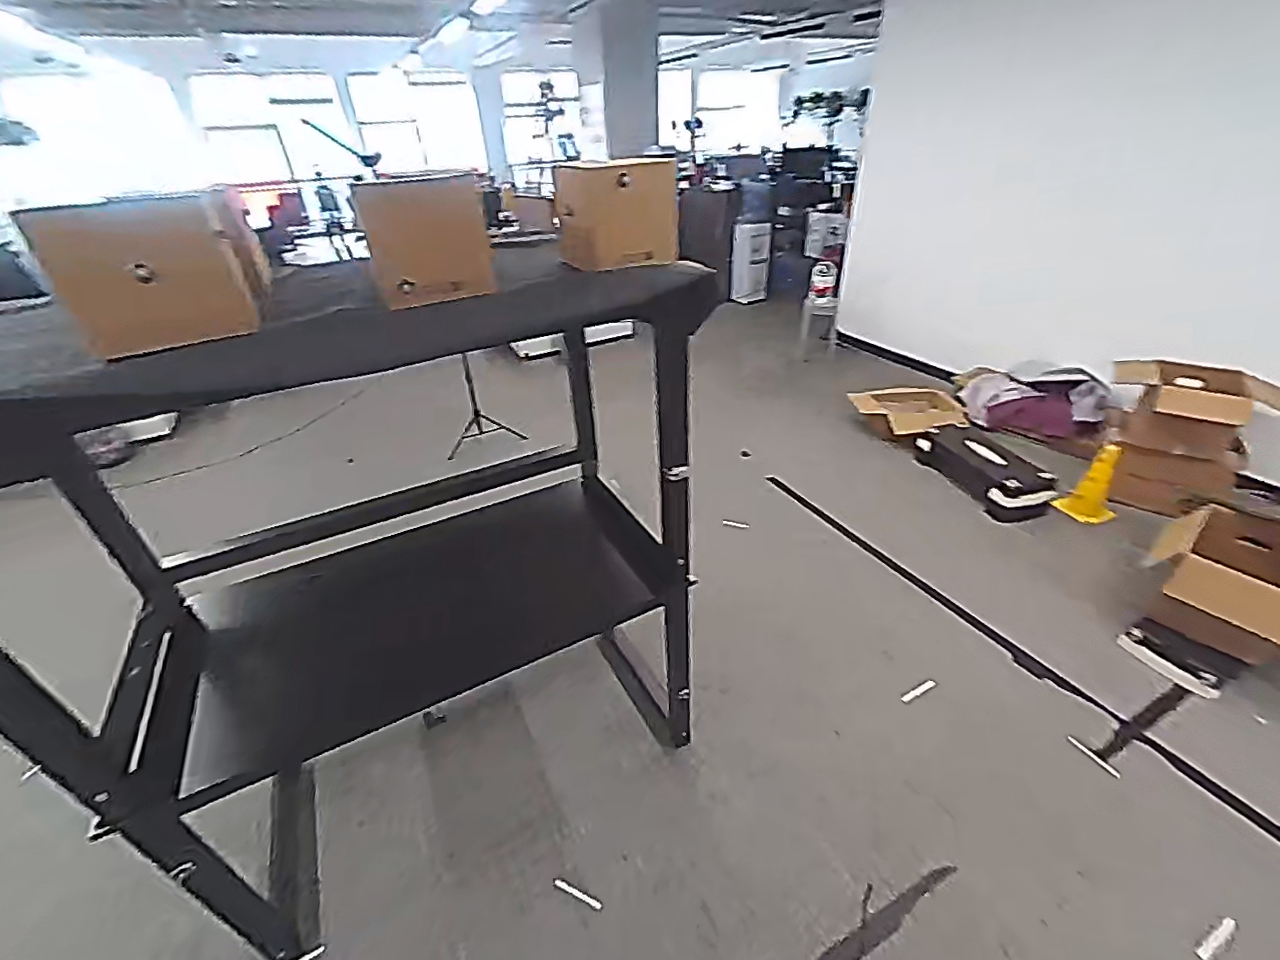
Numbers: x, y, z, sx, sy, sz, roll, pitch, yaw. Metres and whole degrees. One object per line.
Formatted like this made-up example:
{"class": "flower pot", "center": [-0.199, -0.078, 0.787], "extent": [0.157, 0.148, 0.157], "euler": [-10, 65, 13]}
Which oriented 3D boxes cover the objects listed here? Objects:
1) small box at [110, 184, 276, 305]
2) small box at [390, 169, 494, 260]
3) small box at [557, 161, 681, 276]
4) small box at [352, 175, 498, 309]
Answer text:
{"class": "small box", "center": [-0.766, -0.414, 0.951], "extent": [0.168, 0.176, 0.179], "euler": [-18, 36, -23]}
{"class": "small box", "center": [-0.406, -0.535, 1.112], "extent": [0.168, 0.176, 0.179], "euler": [-14, 34, -18]}
{"class": "small box", "center": [-0.038, -0.477, 0.983], "extent": [0.168, 0.176, 0.179], "euler": [-19, 35, -21]}
{"class": "small box", "center": [-0.335, -0.375, 0.852], "extent": [0.168, 0.176, 0.179], "euler": [-18, 33, -21]}
